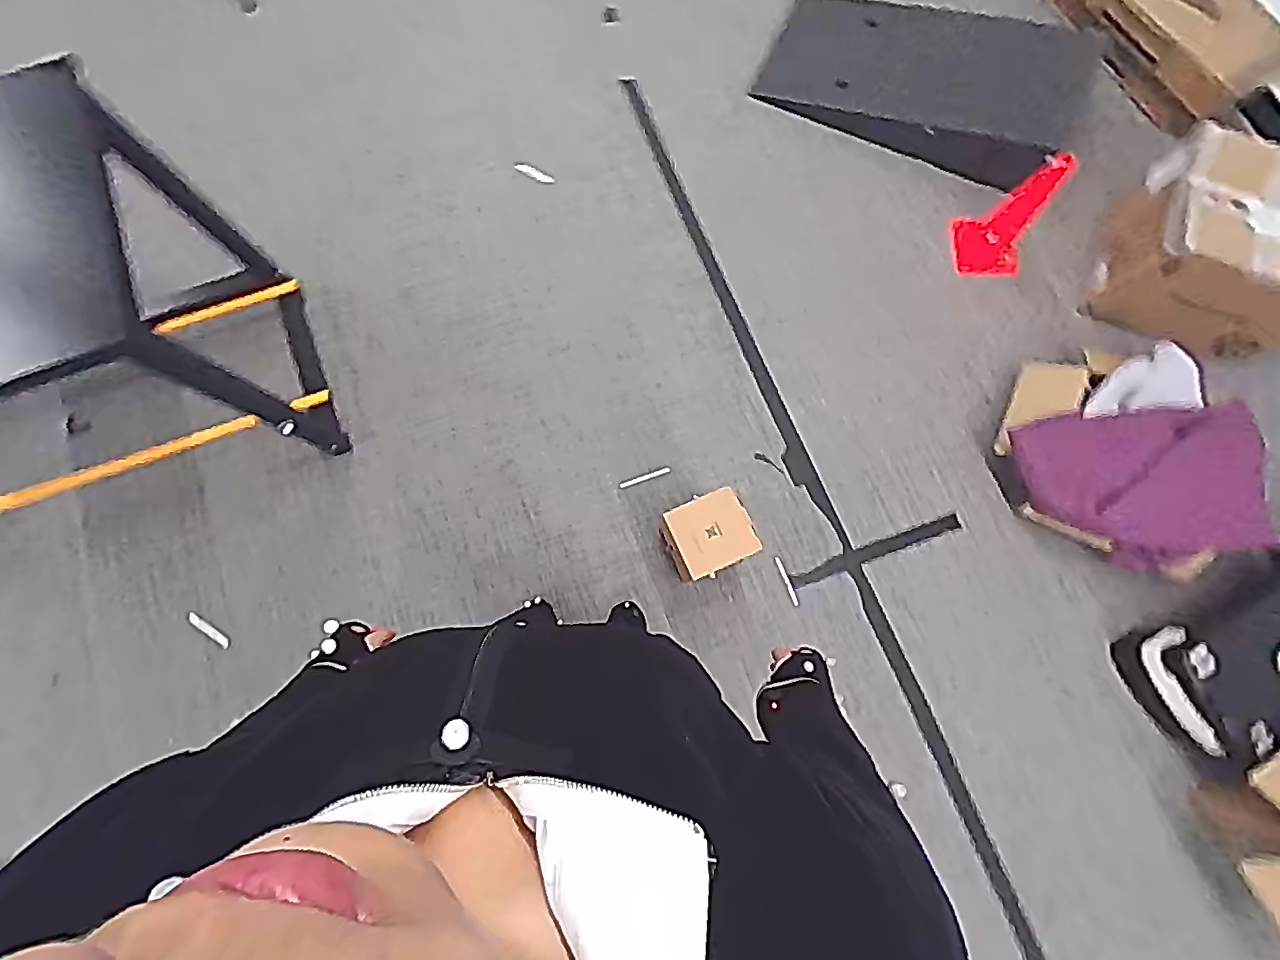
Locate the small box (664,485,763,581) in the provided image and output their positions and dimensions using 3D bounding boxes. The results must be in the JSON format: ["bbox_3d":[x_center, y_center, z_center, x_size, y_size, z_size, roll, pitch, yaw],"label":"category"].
[{"bbox_3d":[0.165,0.132,1.290,0.179,0.176,0.168,-24,77,-4],"label":"small box"}]
